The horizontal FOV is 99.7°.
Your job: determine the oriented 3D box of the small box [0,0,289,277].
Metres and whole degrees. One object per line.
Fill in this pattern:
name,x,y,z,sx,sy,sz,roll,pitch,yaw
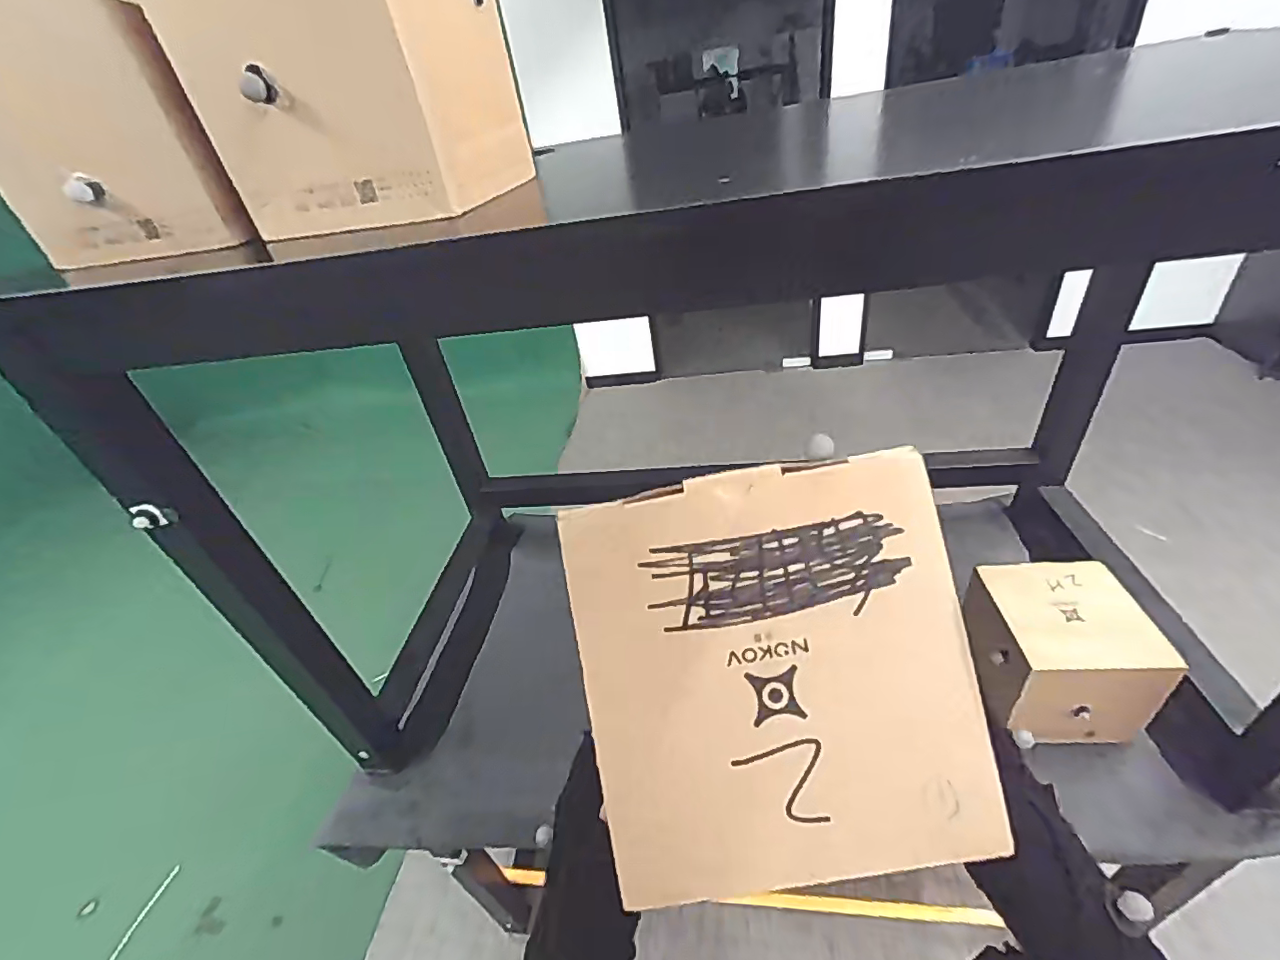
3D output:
small box,-0.388,-0.282,0.449,0.168,0.176,0.179,-3,37,9

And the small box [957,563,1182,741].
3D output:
small box,0.568,0.238,0.748,0.168,0.176,0.179,-4,35,9

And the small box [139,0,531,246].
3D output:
small box,-0.201,-0.288,0.417,0.168,0.176,0.179,-1,36,13
